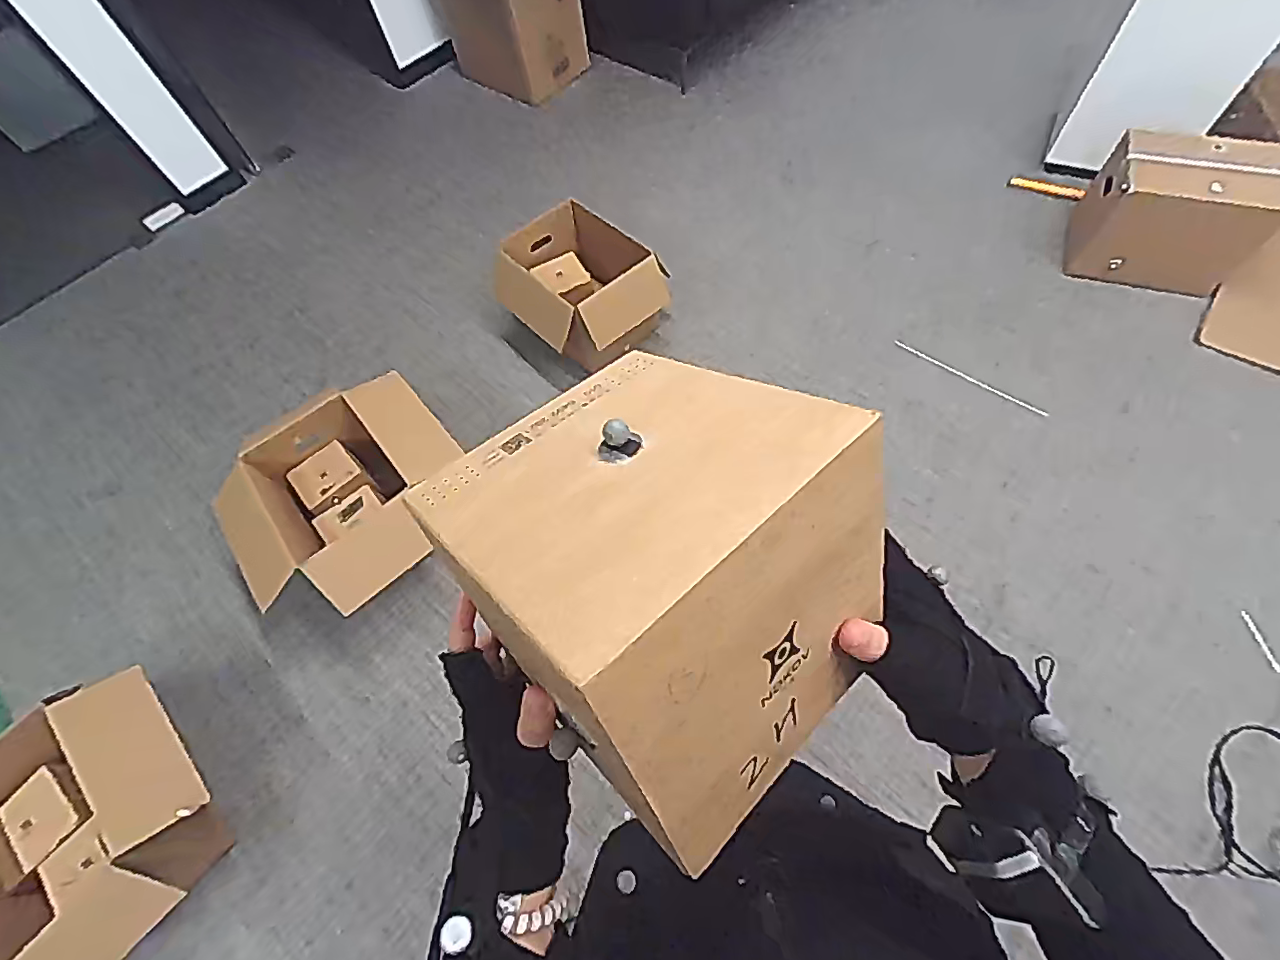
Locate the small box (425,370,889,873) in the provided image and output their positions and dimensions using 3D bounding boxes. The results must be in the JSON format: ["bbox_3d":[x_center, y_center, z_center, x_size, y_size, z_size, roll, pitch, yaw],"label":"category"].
[{"bbox_3d":[0.014,0.053,0.299,0.168,0.179,0.176,-36,40,-24],"label":"small box"}]
